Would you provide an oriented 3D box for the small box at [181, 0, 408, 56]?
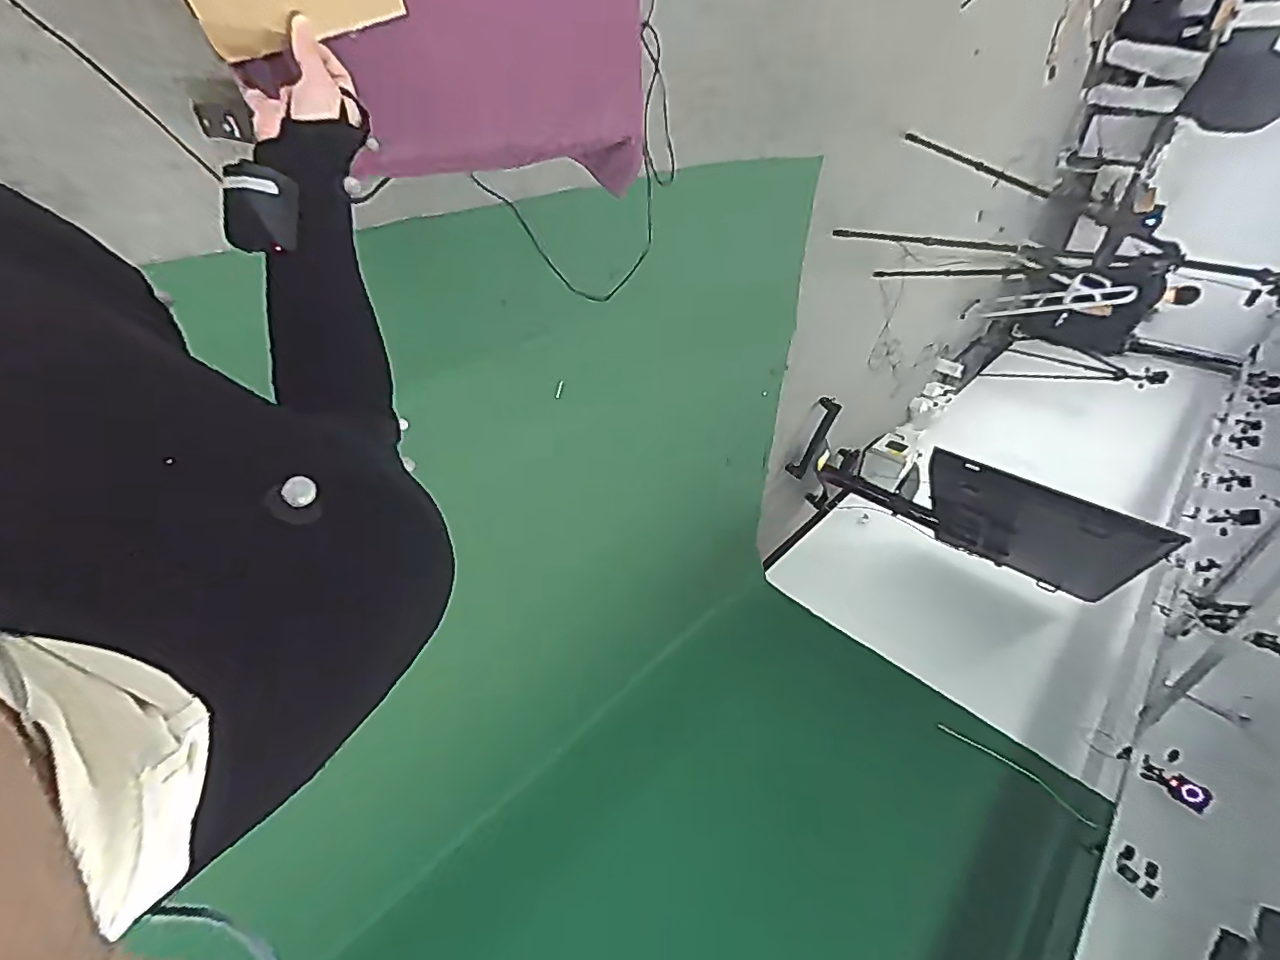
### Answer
[{"bbox_3d":[-0.338,-0.505,0.461,0.179,0.176,0.168,-32,150,-17],"label":"small box"}]
